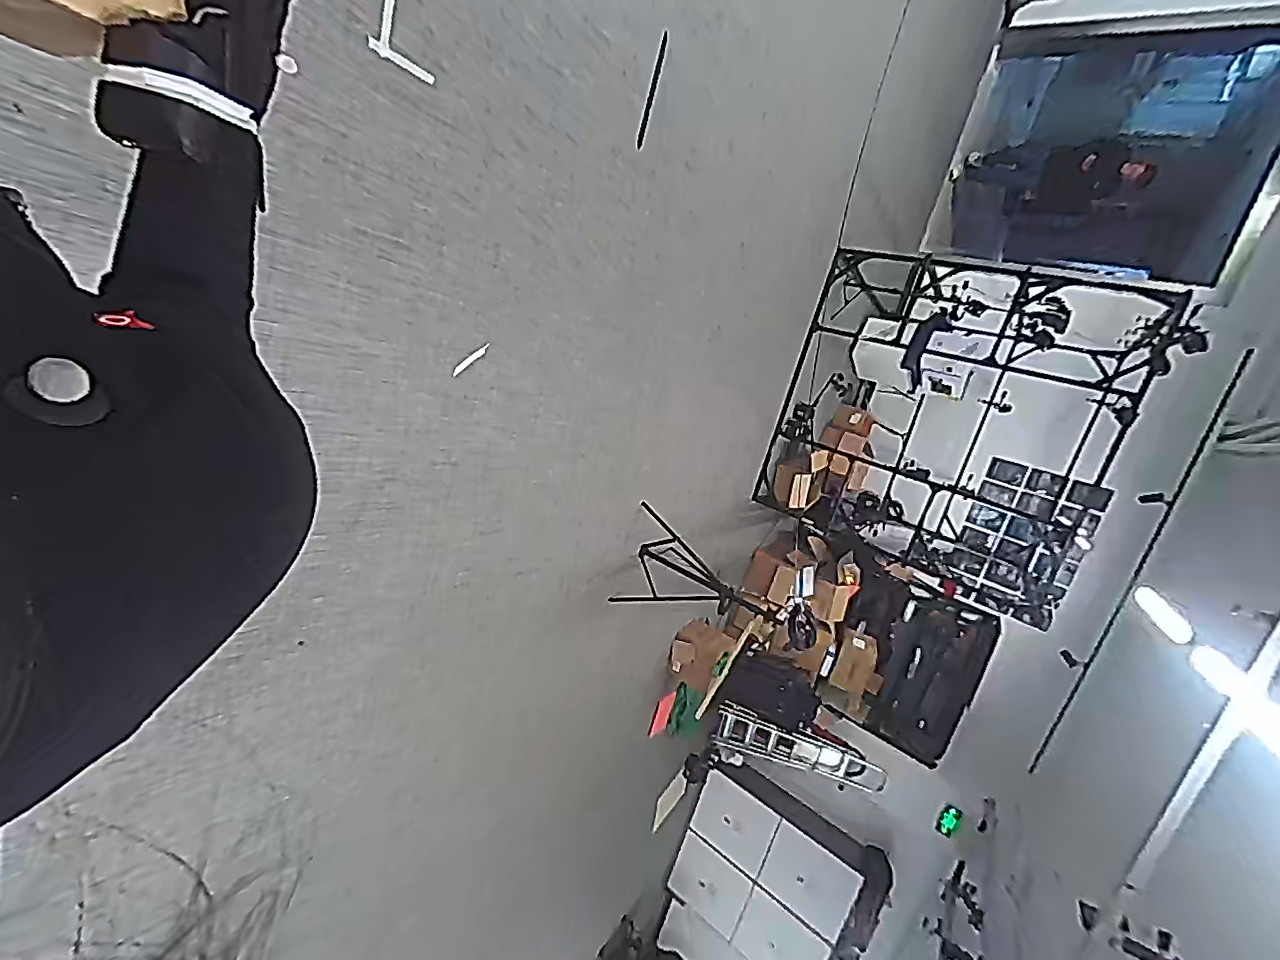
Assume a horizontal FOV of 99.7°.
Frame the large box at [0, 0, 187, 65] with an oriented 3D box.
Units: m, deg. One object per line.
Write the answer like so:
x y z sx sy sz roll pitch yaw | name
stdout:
-0.493 -0.463 0.232 0.408 0.320 0.320 -6 119 -58 | large box
